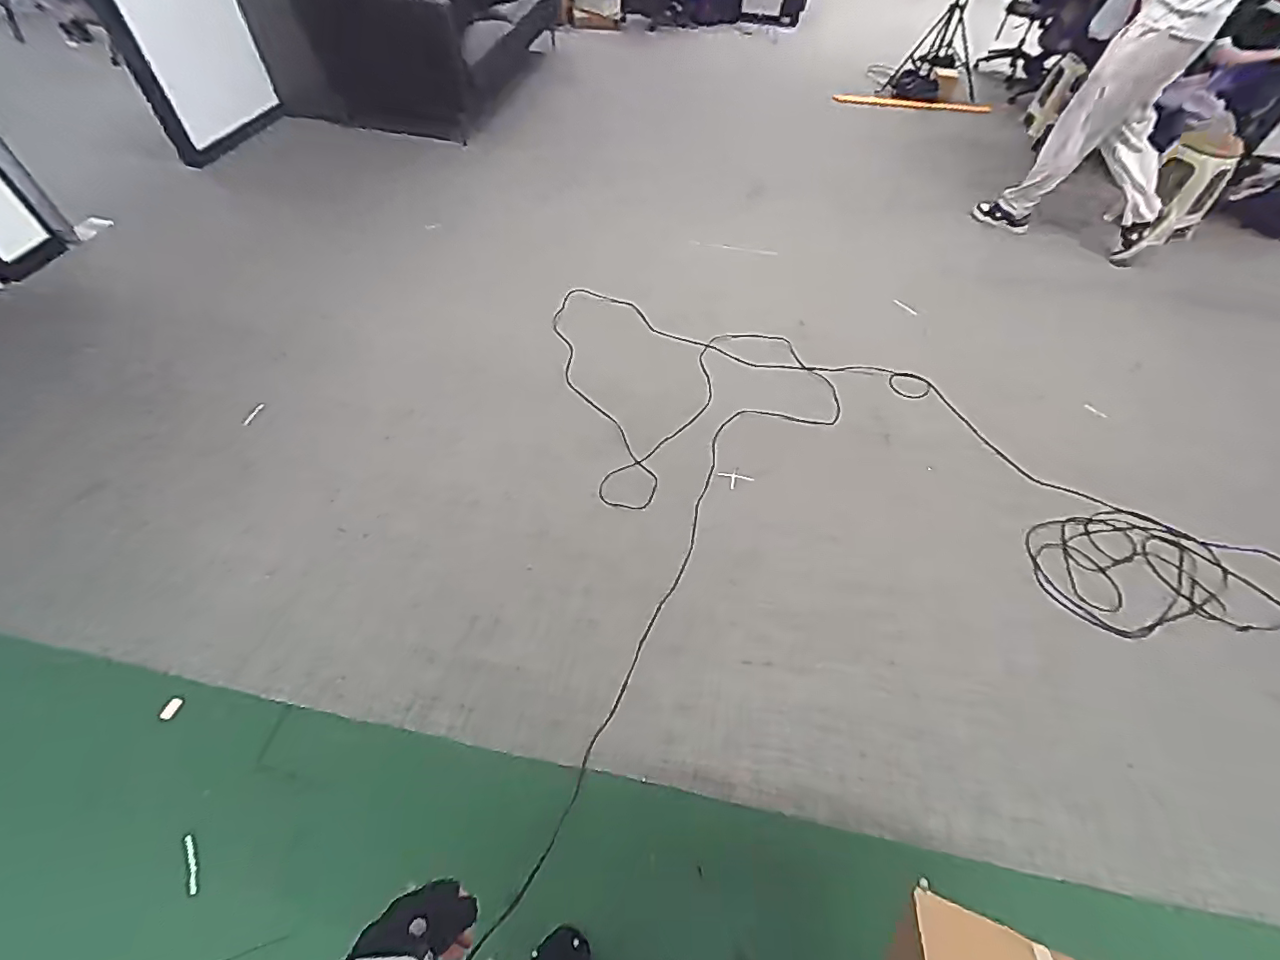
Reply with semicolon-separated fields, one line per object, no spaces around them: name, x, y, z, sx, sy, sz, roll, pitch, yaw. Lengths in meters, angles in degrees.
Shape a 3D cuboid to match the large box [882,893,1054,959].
large box;0.424;0.798;0.577;0.320;0.320;0.408;19;9;18
